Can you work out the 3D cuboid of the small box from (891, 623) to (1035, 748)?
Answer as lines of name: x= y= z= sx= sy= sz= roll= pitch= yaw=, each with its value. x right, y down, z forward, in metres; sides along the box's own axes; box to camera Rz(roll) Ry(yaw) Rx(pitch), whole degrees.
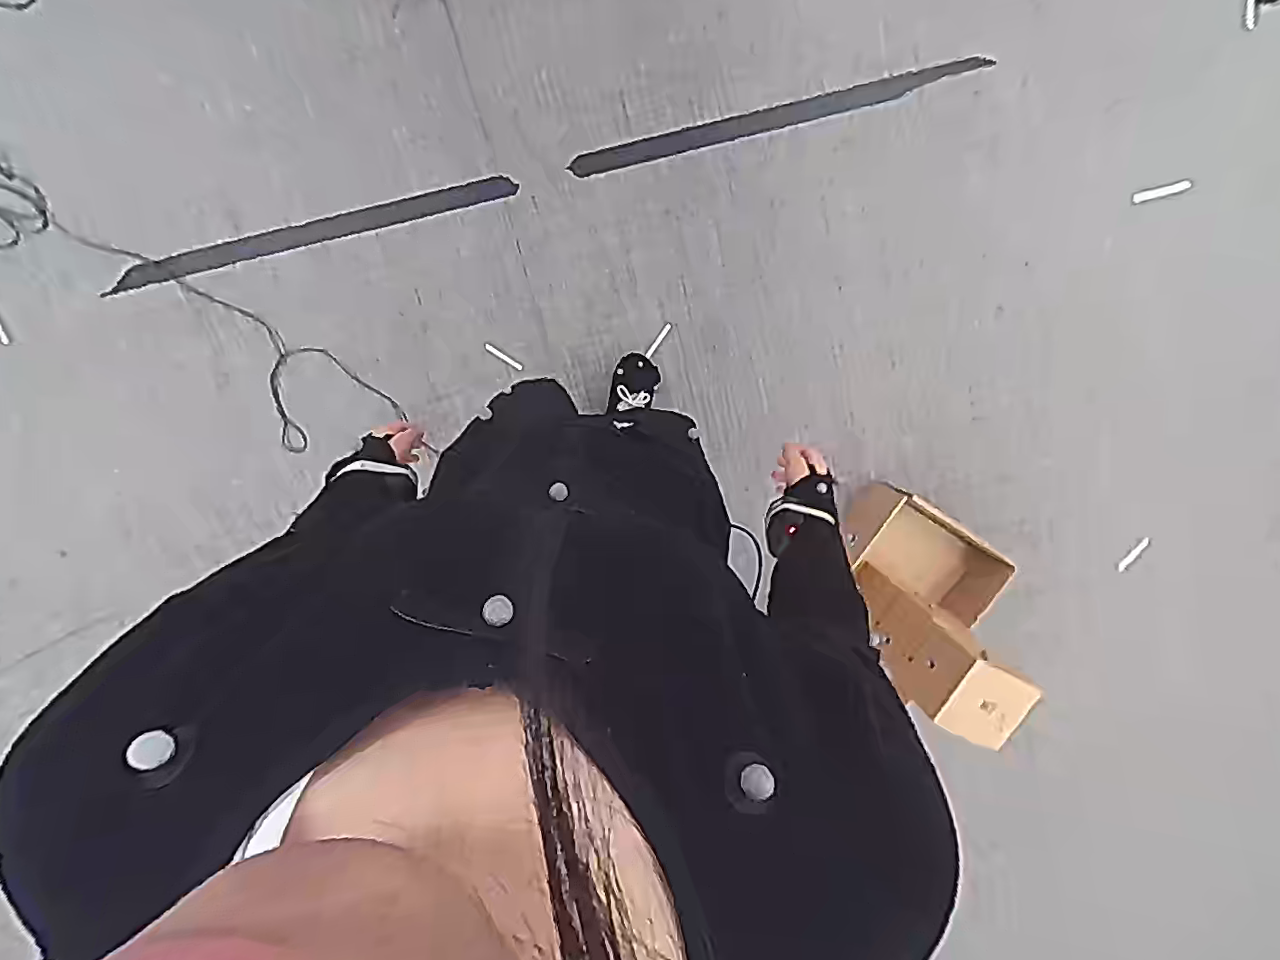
small box: x=0.699 y=0.443 z=1.194 sx=0.179 sy=0.176 sz=0.168 roll=26 pitch=103 yaw=-9

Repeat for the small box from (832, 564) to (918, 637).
small box: x=0.679 y=0.361 z=1.511 sx=0.179 sy=0.176 sz=0.168 roll=31 pitch=100 yaw=-10

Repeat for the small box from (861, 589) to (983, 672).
small box: x=0.693 y=0.398 z=1.354 sx=0.179 sy=0.176 sz=0.168 roll=26 pitch=102 yaw=-11
